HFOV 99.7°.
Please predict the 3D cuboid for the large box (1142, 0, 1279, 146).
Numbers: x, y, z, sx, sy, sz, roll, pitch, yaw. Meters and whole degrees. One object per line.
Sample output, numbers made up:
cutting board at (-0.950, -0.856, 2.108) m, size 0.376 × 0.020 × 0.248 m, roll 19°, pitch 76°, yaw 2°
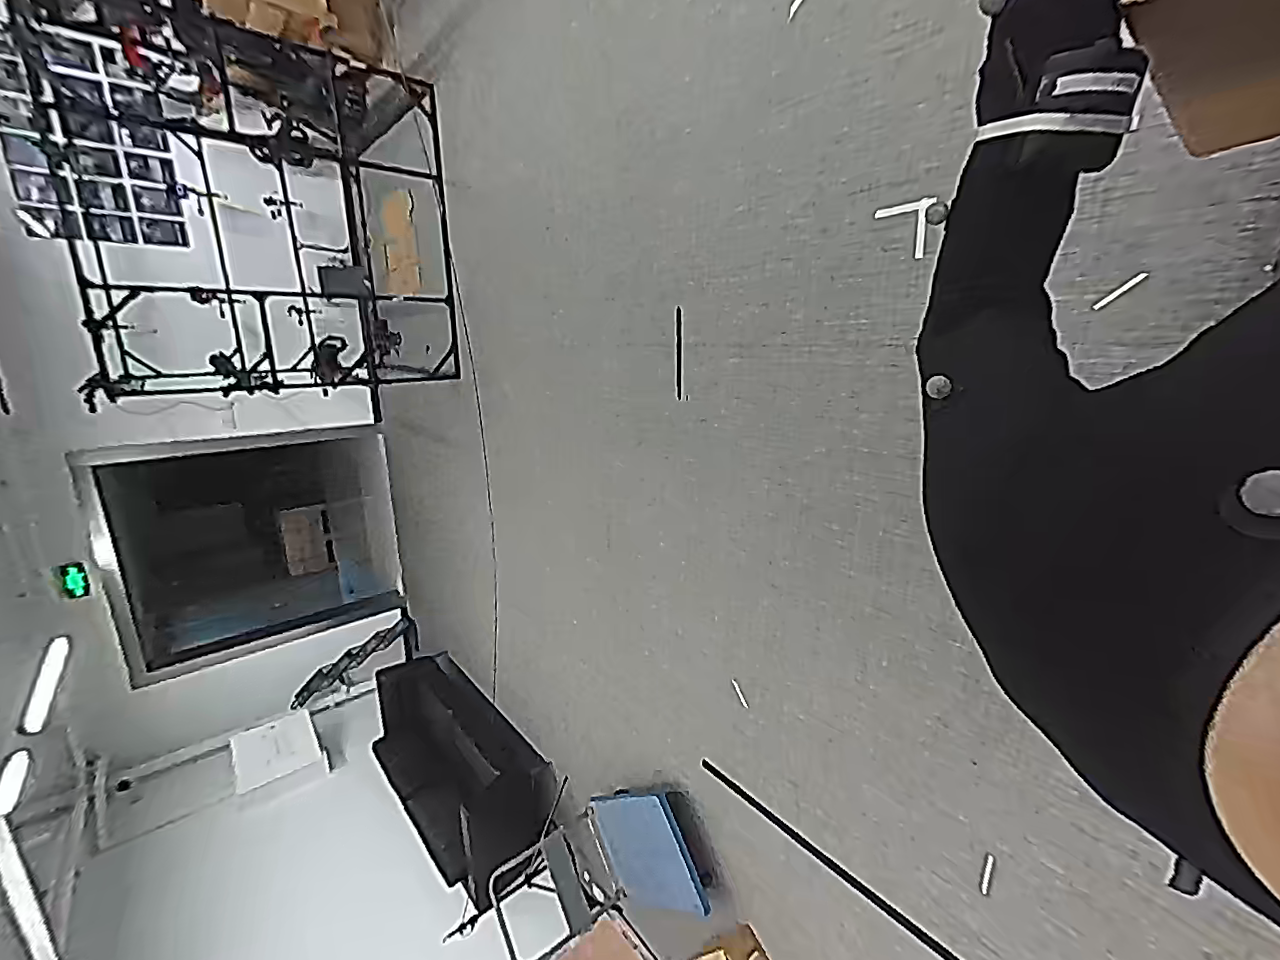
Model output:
large box at (0.532, -0.431, 0.248) m, size 0.408 × 0.320 × 0.320 m, roll 9°, pitch 102°, yaw 50°
